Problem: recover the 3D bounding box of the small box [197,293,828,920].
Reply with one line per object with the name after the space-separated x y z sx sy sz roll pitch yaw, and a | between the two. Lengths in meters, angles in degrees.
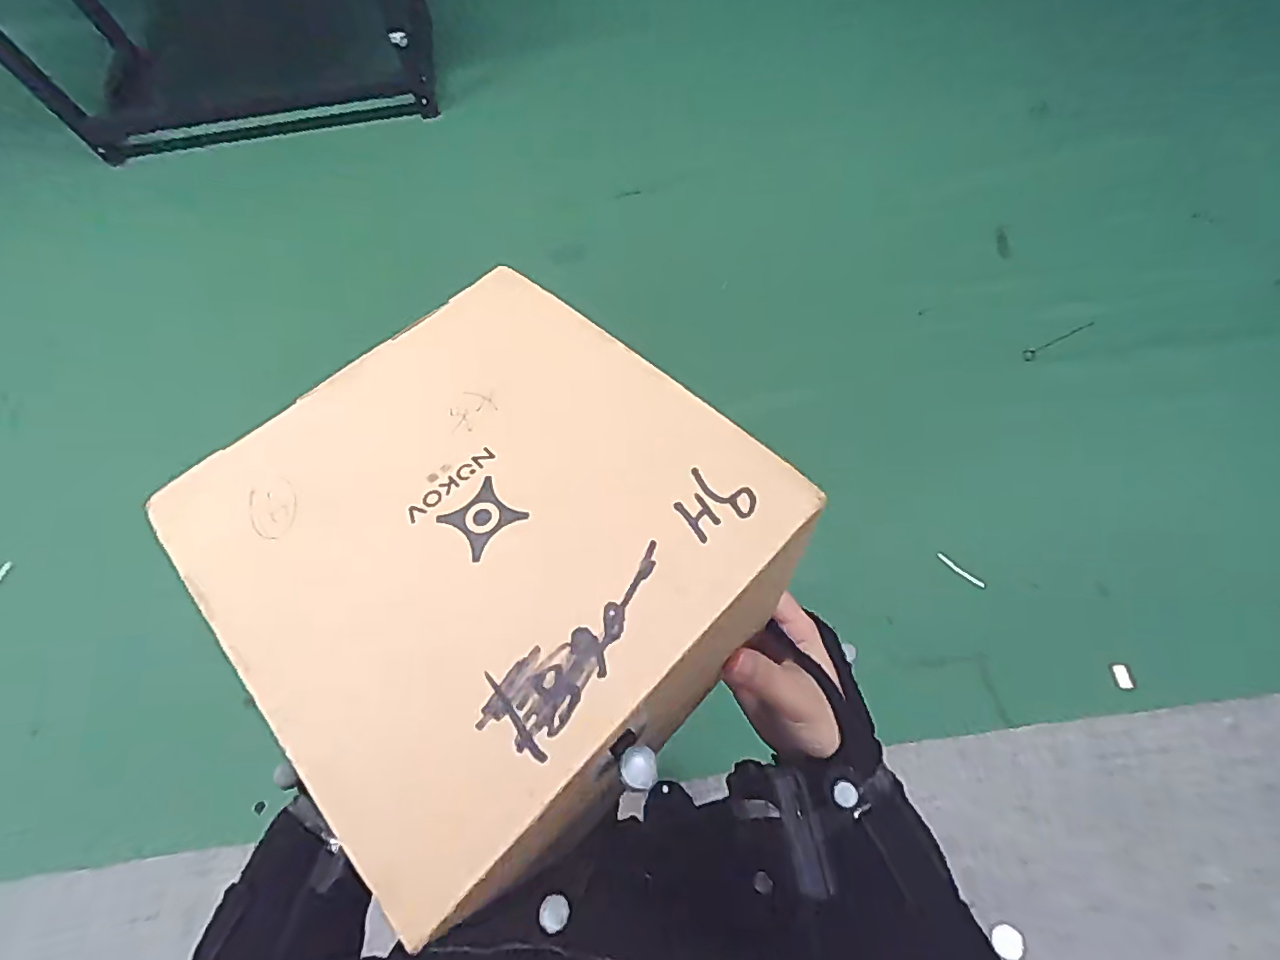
-0.045 0.052 0.263 0.179 0.176 0.168 39 72 23 | small box
